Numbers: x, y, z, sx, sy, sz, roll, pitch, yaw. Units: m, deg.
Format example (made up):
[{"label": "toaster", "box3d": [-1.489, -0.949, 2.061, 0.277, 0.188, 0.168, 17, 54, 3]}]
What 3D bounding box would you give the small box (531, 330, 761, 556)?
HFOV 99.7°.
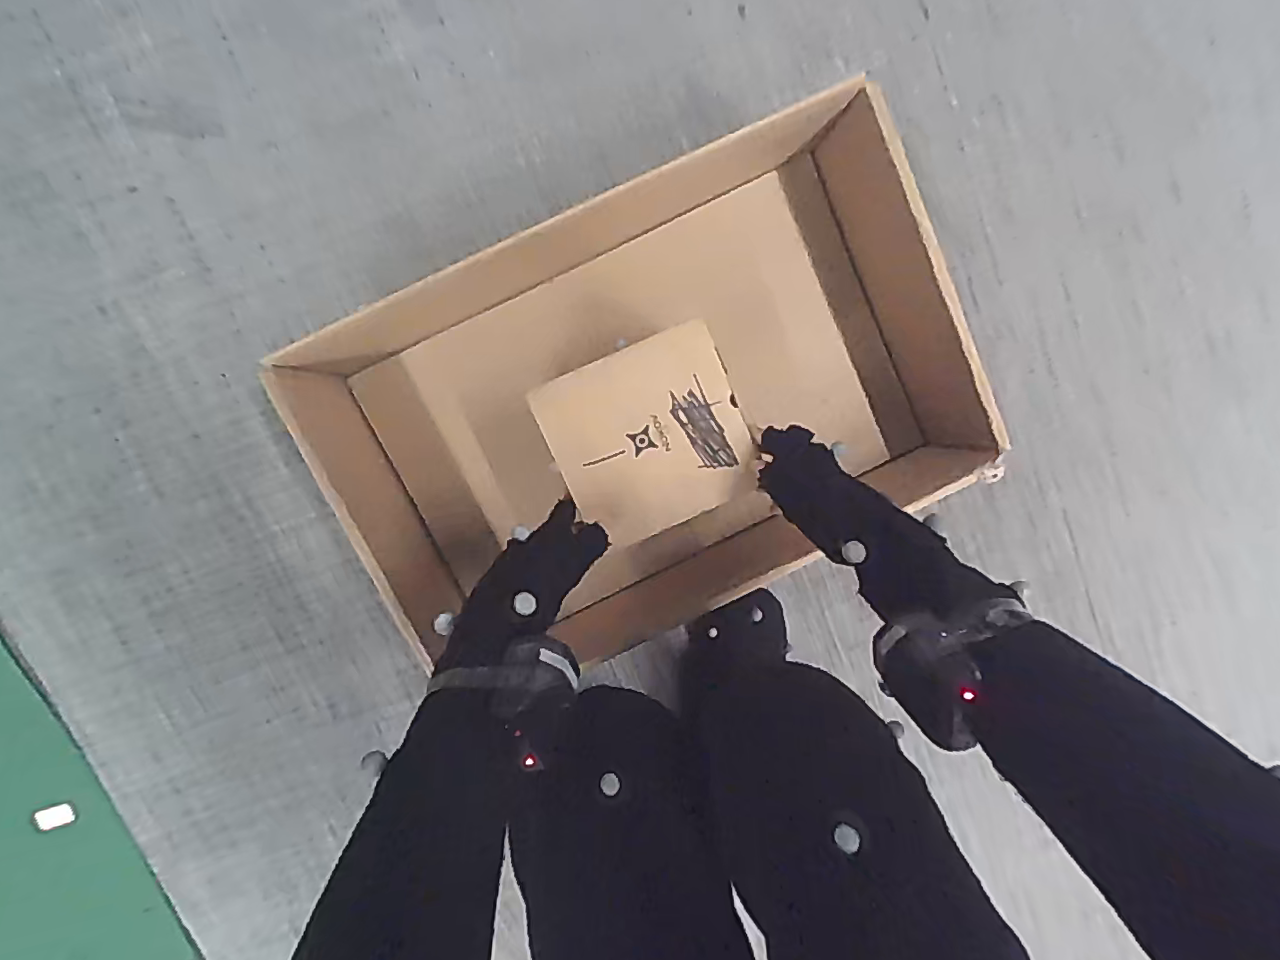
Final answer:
[{"label": "small box", "box3d": [0.002, -0.043, 0.584, 0.179, 0.176, 0.168, -23, 97, -1]}]
